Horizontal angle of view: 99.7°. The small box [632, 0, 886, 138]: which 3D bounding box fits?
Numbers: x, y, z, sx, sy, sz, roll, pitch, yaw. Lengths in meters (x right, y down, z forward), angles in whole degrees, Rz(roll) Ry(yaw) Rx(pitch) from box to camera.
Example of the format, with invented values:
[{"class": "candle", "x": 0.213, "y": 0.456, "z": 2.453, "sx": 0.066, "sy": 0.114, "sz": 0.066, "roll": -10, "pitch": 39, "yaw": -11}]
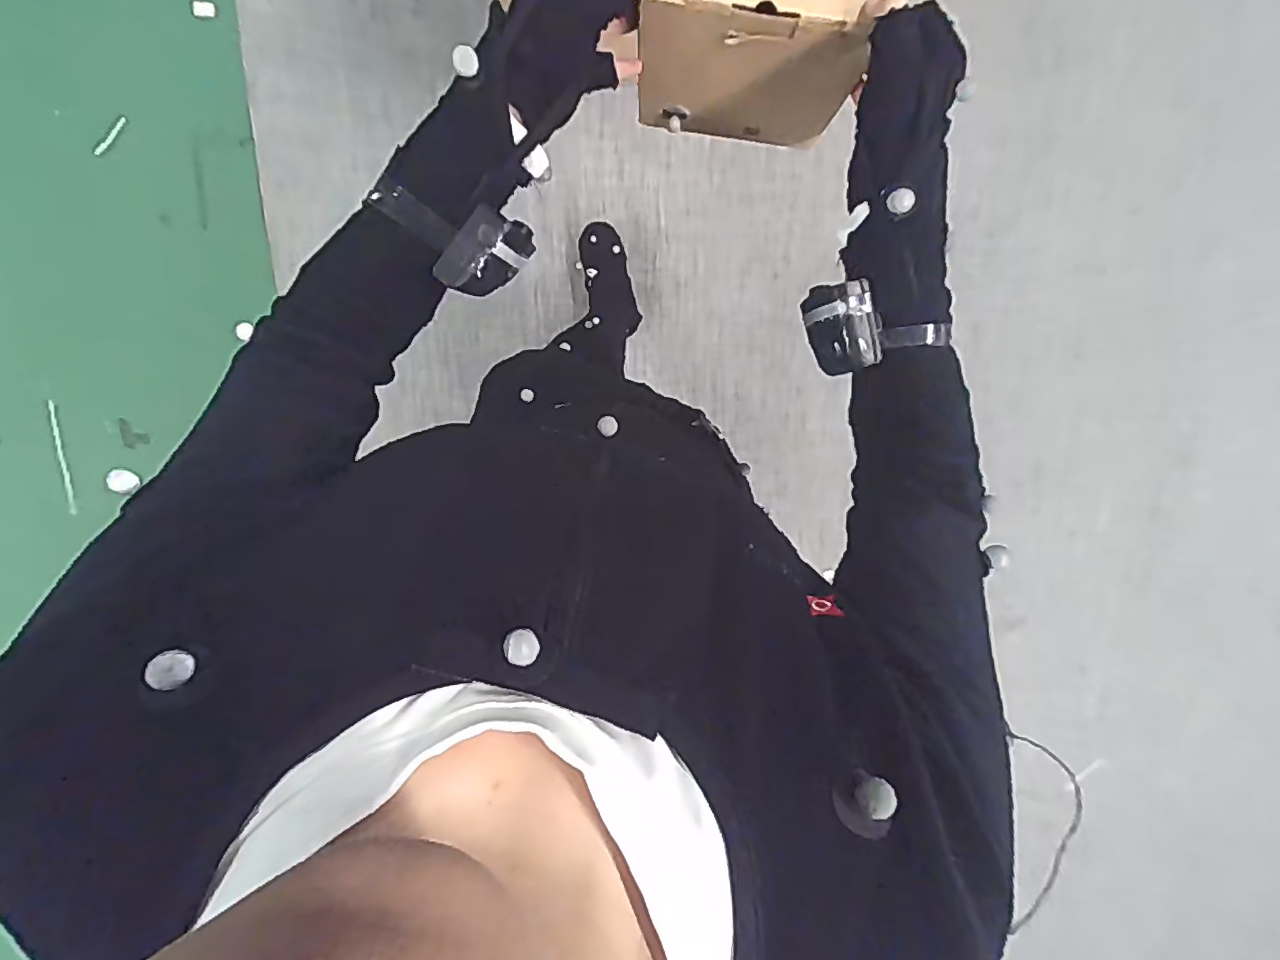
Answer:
[{"class": "small box", "x": 0.089, "y": -0.397, "z": 0.414, "sx": 0.168, "sy": 0.176, "sz": 0.179, "roll": 8, "pitch": 97, "yaw": 0}]
